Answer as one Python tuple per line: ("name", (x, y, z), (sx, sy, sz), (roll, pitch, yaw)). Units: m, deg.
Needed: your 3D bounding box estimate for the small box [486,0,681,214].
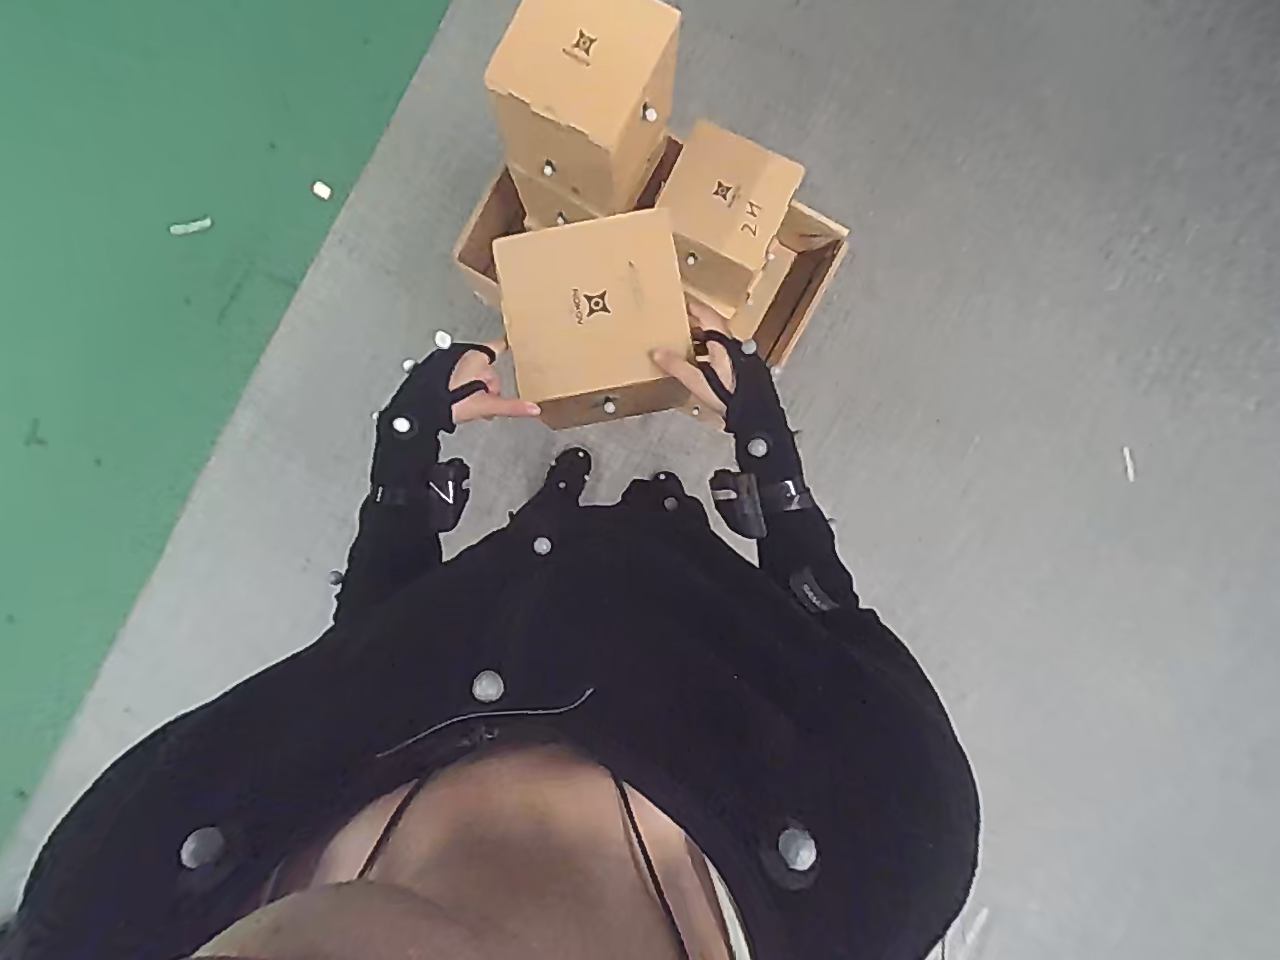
("small box", (-0.066, -0.483, 0.685), (0.168, 0.176, 0.179), (27, 90, -1))
